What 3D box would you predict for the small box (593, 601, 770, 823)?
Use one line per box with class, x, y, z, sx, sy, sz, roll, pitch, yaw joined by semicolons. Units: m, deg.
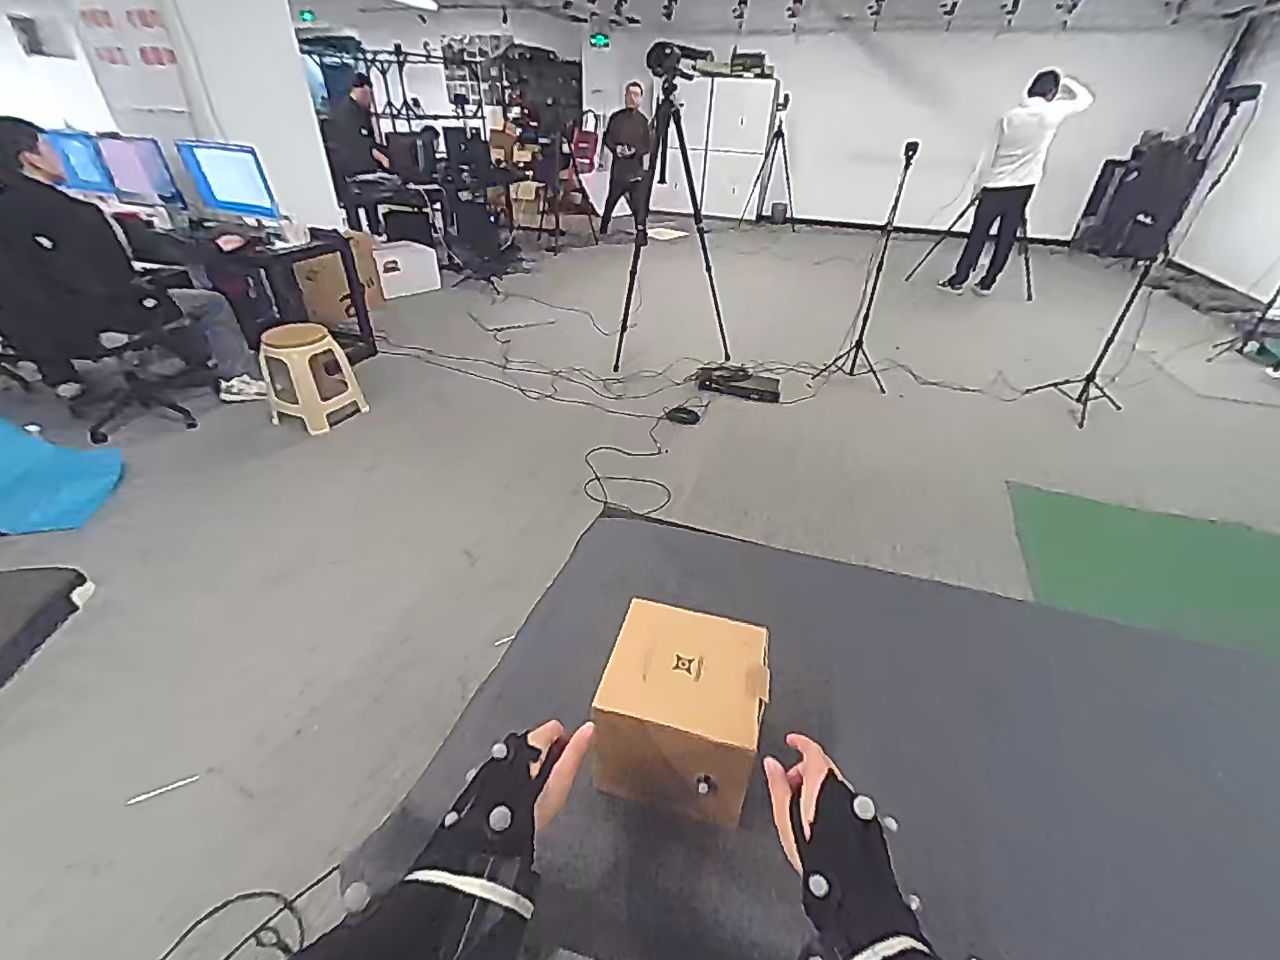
small box;0.052;0.279;0.655;0.179;0.176;0.168;9;33;12
